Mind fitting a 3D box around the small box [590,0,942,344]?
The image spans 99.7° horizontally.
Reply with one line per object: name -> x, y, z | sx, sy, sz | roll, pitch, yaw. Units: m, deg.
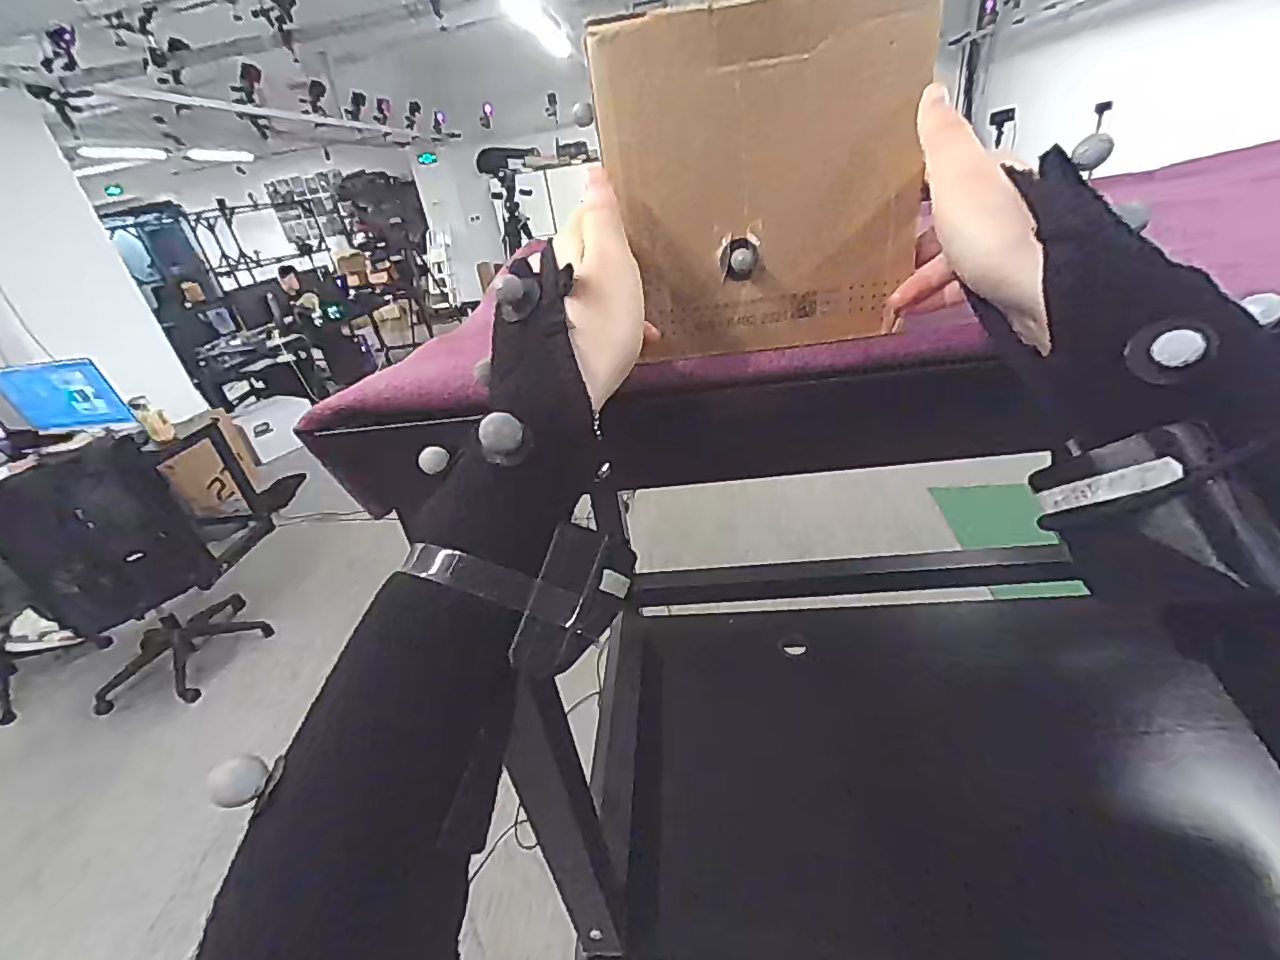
small box -> 0.066, -0.197, 0.358 | 0.168, 0.176, 0.179 | -6, 29, 3
